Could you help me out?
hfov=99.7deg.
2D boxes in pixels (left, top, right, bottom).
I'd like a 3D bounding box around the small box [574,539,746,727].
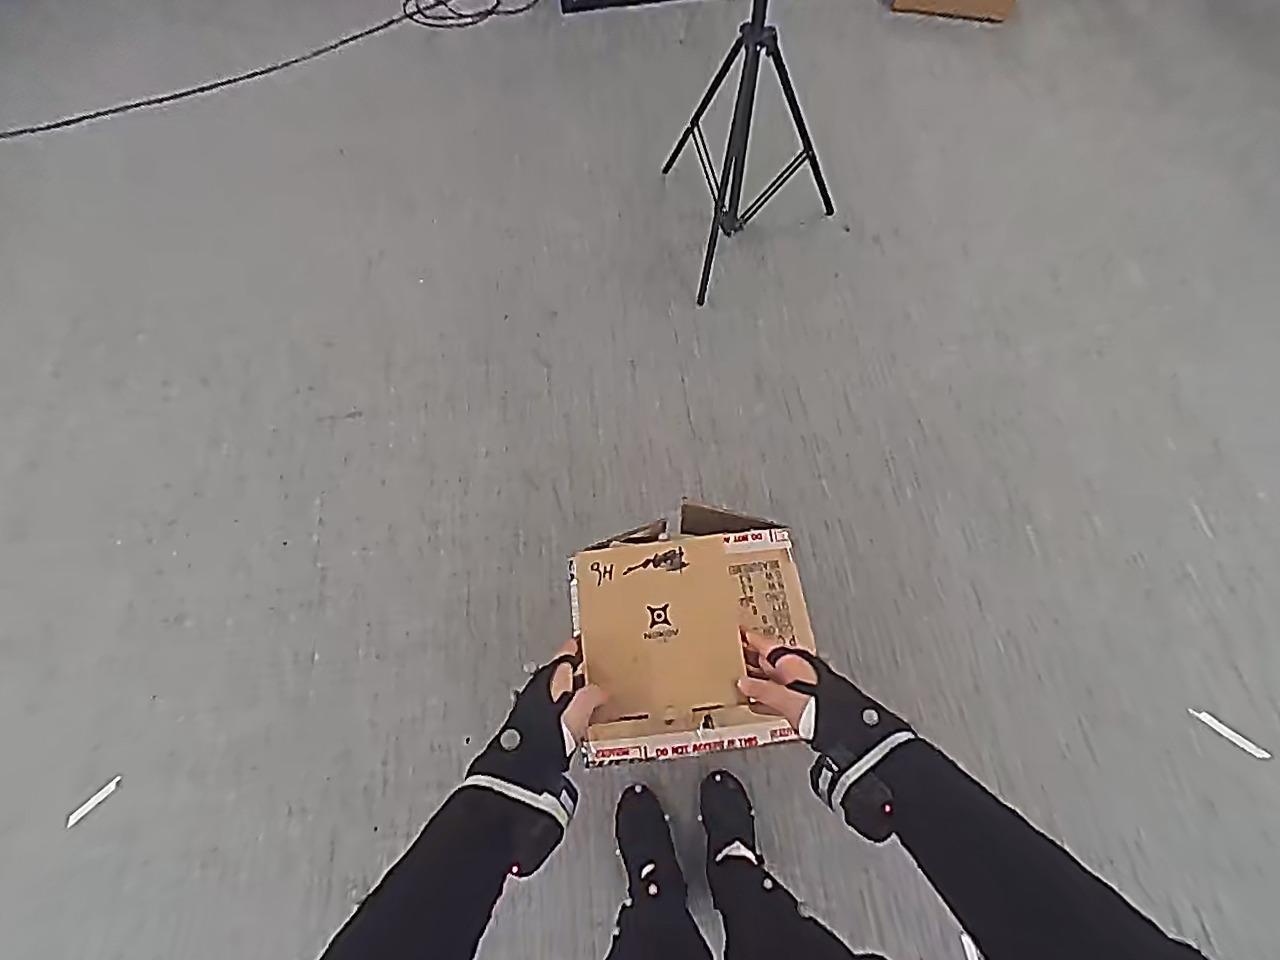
[{"bbox_3d":[0.021,0.177,0.634,0.168,0.176,0.179,-7,72,0],"label":"small box"}]
